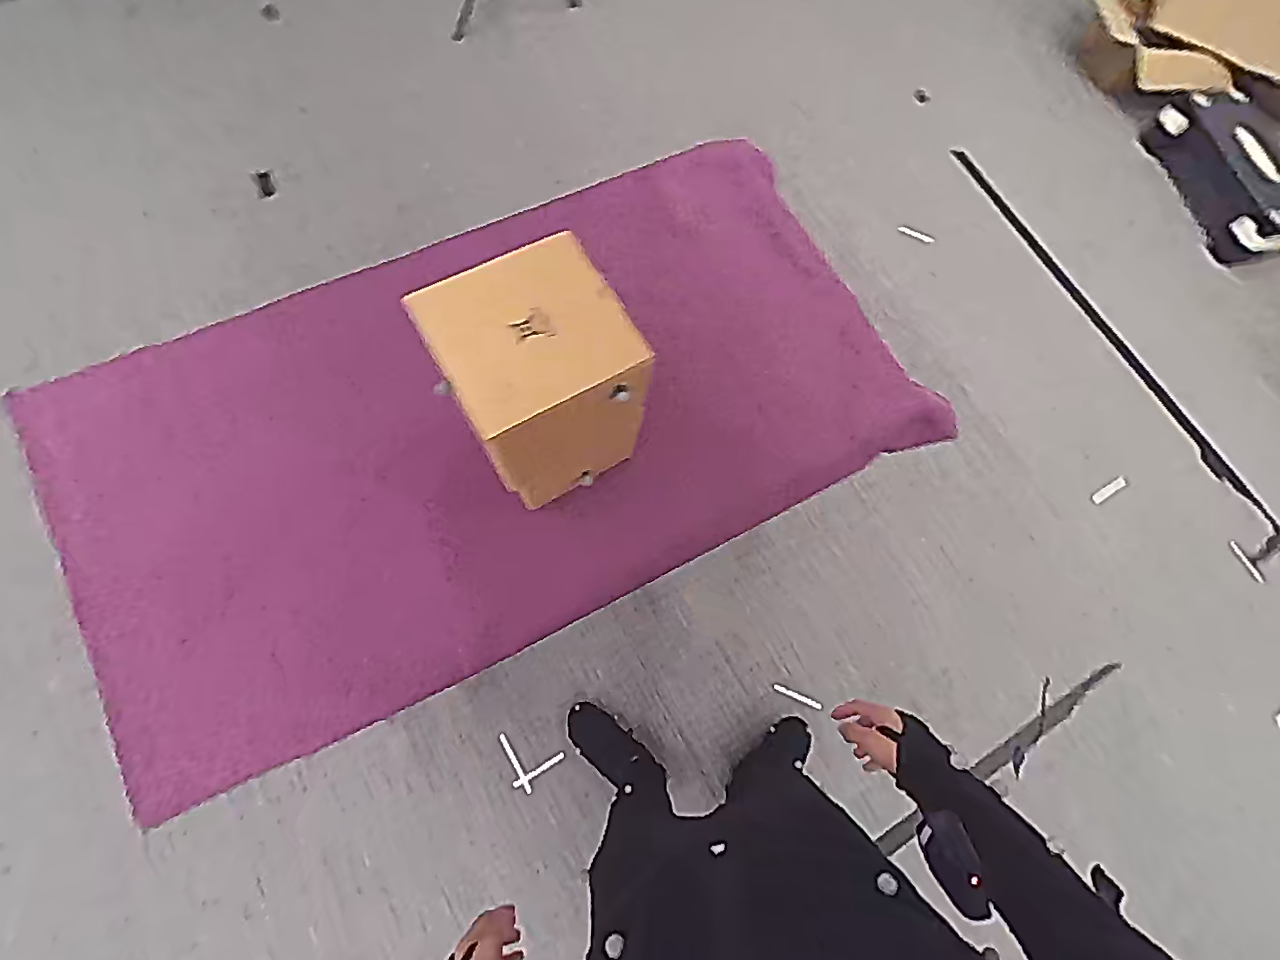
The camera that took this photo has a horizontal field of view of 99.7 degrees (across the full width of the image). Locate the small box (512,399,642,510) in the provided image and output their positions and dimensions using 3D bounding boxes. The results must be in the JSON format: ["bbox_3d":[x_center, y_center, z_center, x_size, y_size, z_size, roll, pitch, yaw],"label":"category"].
[{"bbox_3d":[-0.121,-0.083,0.738,0.179,0.176,0.168,-31,78,-15],"label":"small box"}]

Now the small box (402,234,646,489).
[{"bbox_3d":[-0.114,-0.113,0.576,0.179,0.176,0.168,-30,78,-15],"label":"small box"}]
